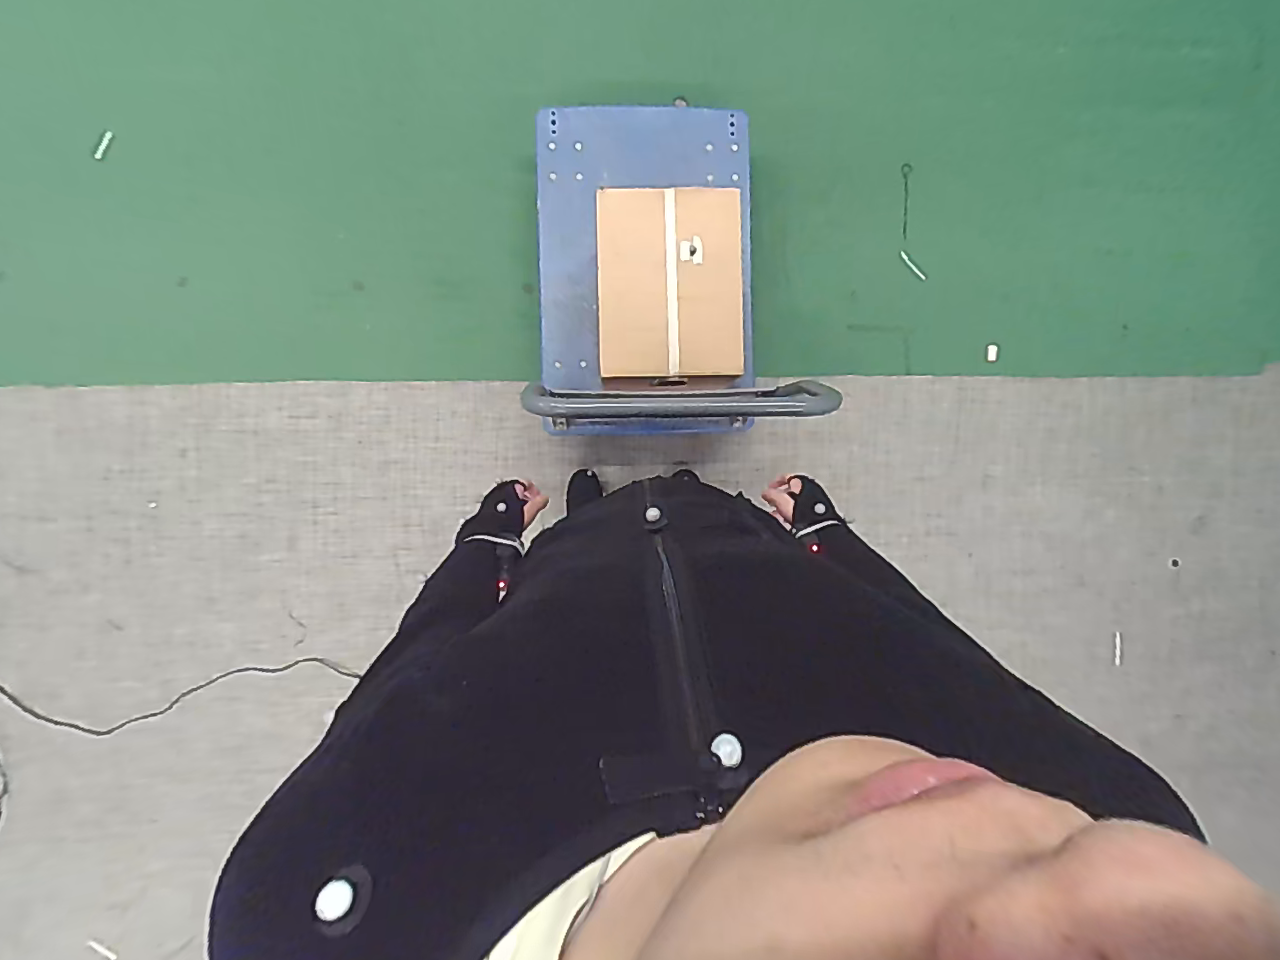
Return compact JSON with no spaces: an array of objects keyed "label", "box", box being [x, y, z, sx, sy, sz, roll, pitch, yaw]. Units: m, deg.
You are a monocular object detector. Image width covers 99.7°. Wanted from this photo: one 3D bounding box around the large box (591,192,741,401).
[{"label":"large box","box":[0.050,-0.417,1.312,0.320,0.320,0.408,-2,90,-4]}]
